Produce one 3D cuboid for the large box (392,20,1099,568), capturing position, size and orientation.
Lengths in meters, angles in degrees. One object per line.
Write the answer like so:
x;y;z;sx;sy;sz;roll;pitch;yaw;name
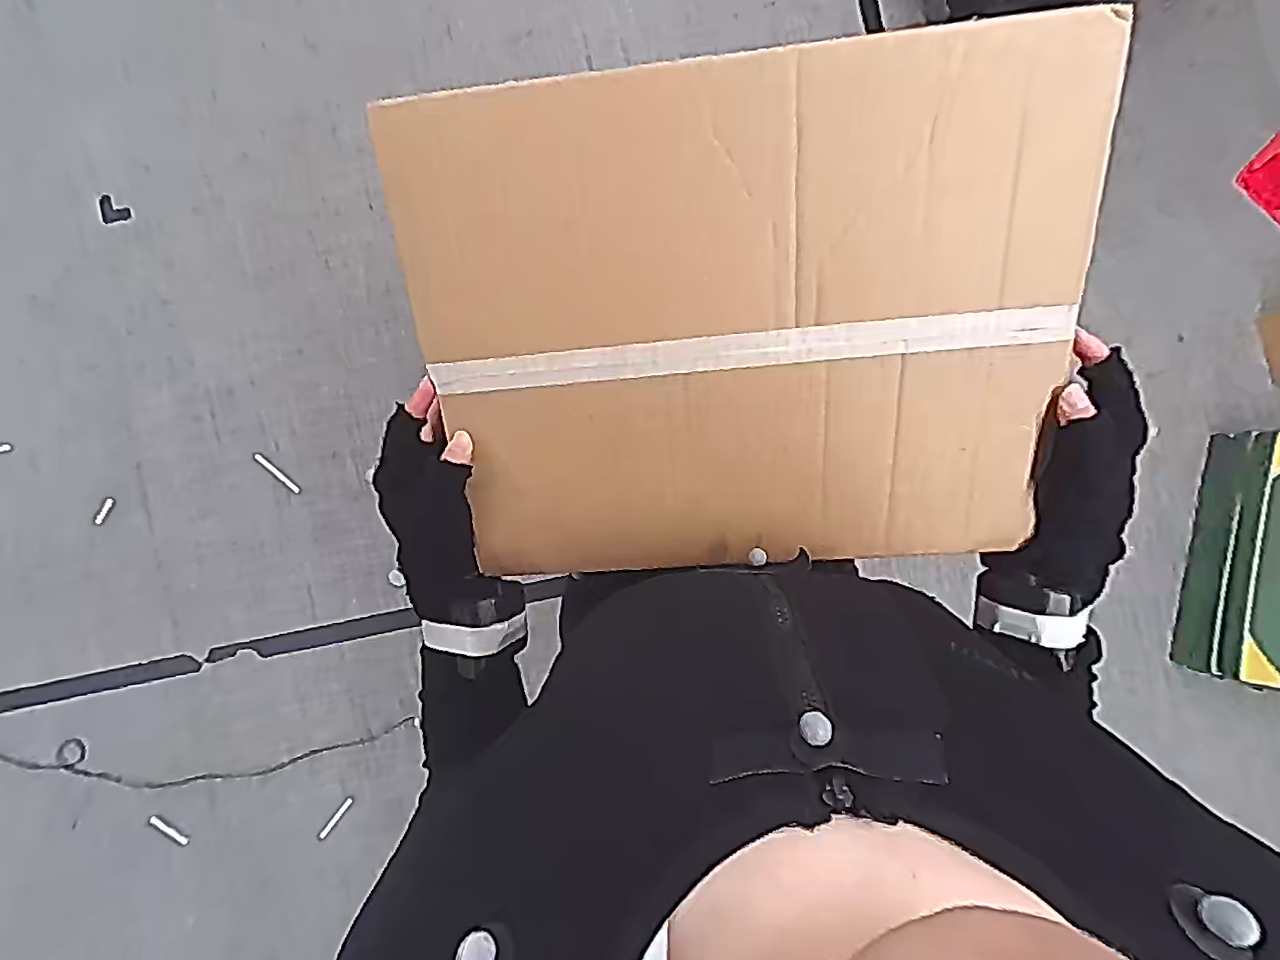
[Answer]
0.069;-0.140;0.494;0.408;0.320;0.320;-4;112;5;large box
